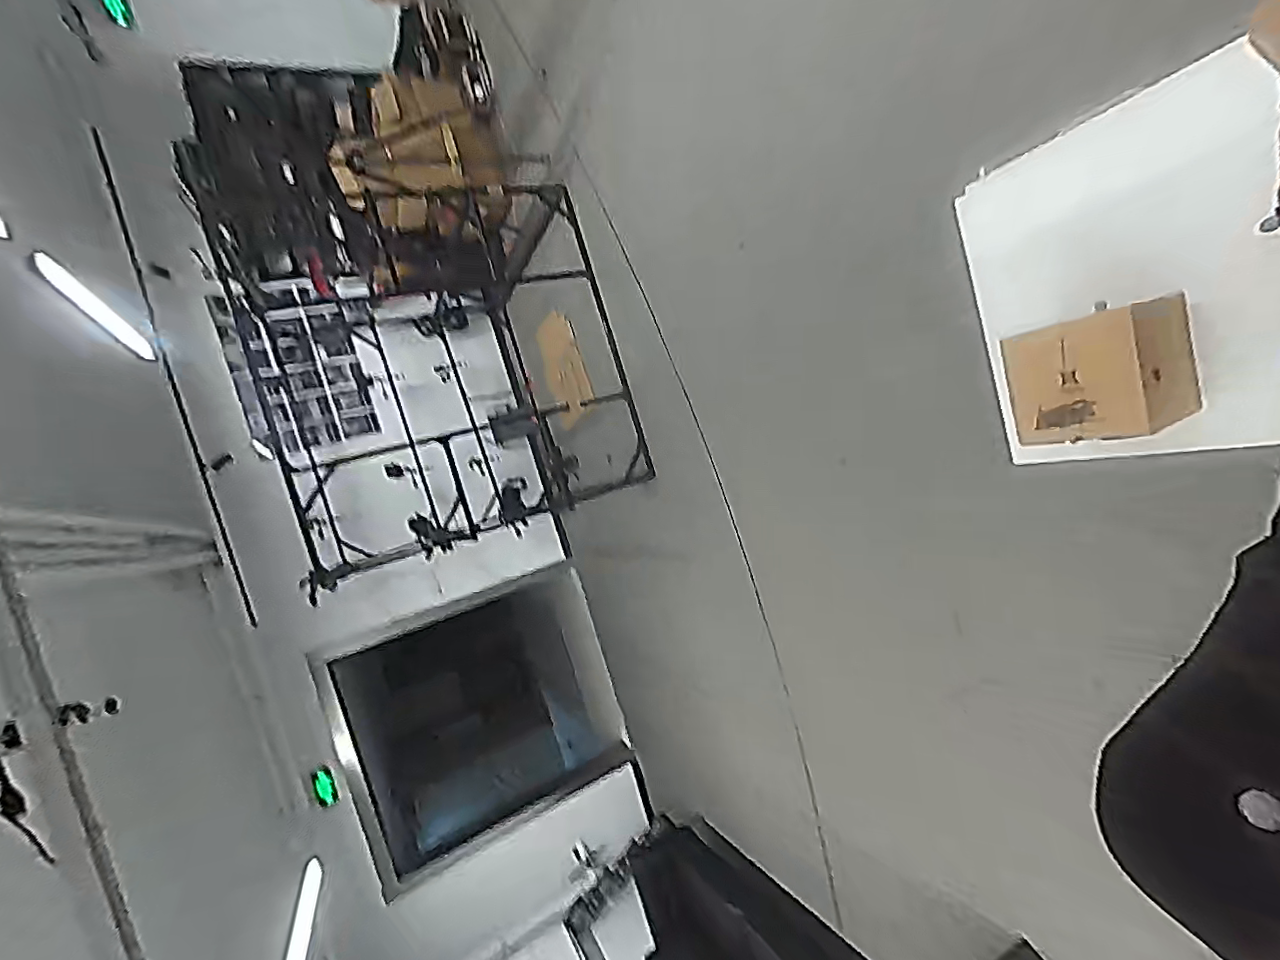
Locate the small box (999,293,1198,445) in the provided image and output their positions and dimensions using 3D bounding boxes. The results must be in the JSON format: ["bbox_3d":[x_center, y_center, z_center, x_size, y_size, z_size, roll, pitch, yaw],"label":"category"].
[{"bbox_3d":[0.685,-0.162,0.809,0.168,0.176,0.179,-5,101,64],"label":"small box"}]

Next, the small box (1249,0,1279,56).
[{"bbox_3d":[0.614,-0.364,0.394,0.179,0.176,0.168,57,143,8],"label":"small box"}]
